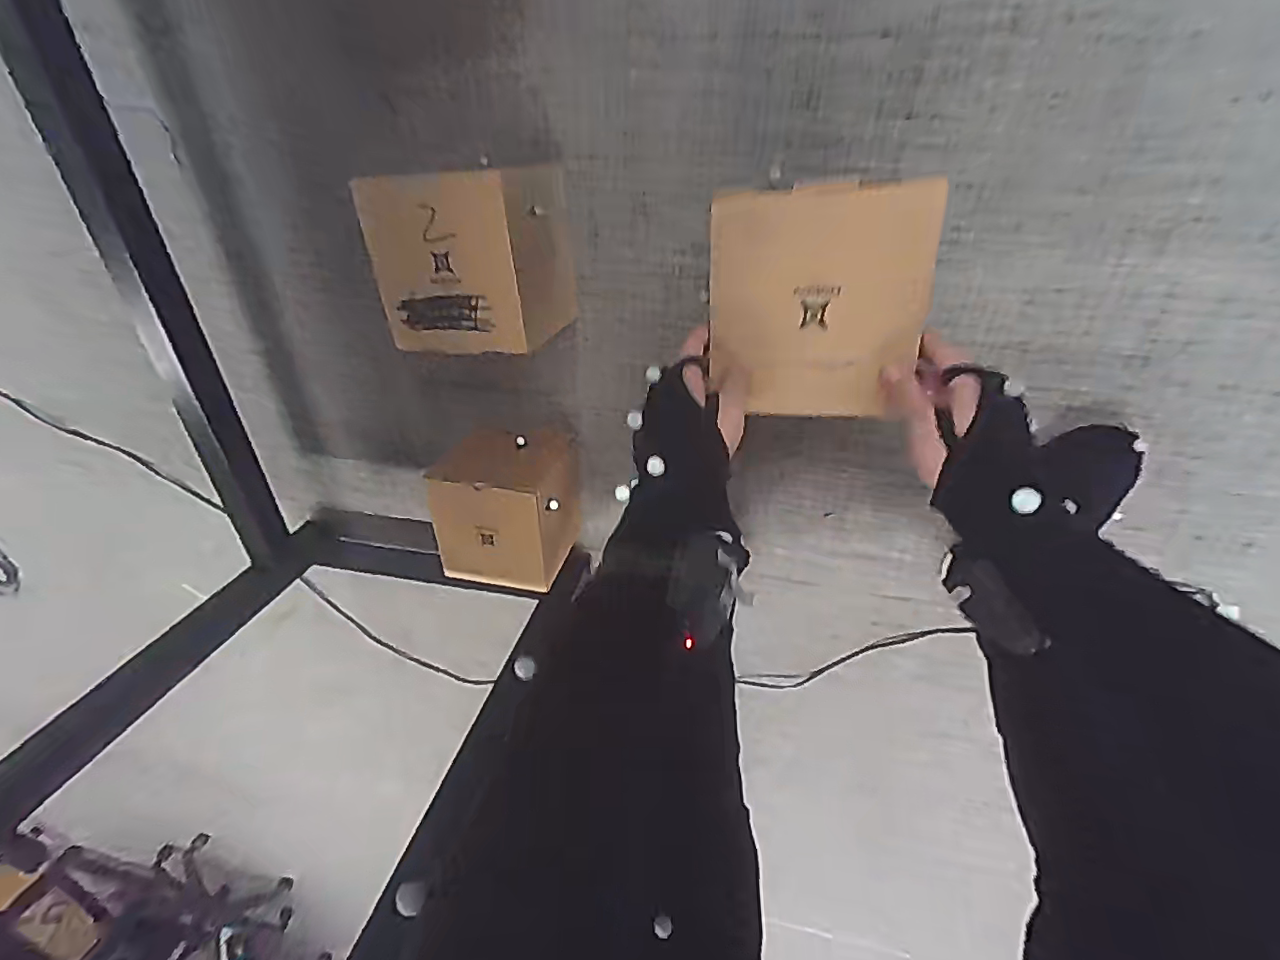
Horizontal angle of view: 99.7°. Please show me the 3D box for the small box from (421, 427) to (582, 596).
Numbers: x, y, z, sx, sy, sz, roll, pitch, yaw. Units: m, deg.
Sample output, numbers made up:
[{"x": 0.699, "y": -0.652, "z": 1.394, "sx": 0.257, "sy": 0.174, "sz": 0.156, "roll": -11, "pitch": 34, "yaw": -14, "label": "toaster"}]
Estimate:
[{"x": -0.191, "y": 0.041, "z": 0.806, "sx": 0.168, "sy": 0.176, "sz": 0.179, "roll": 7, "pitch": 122, "yaw": 12, "label": "small box"}]
